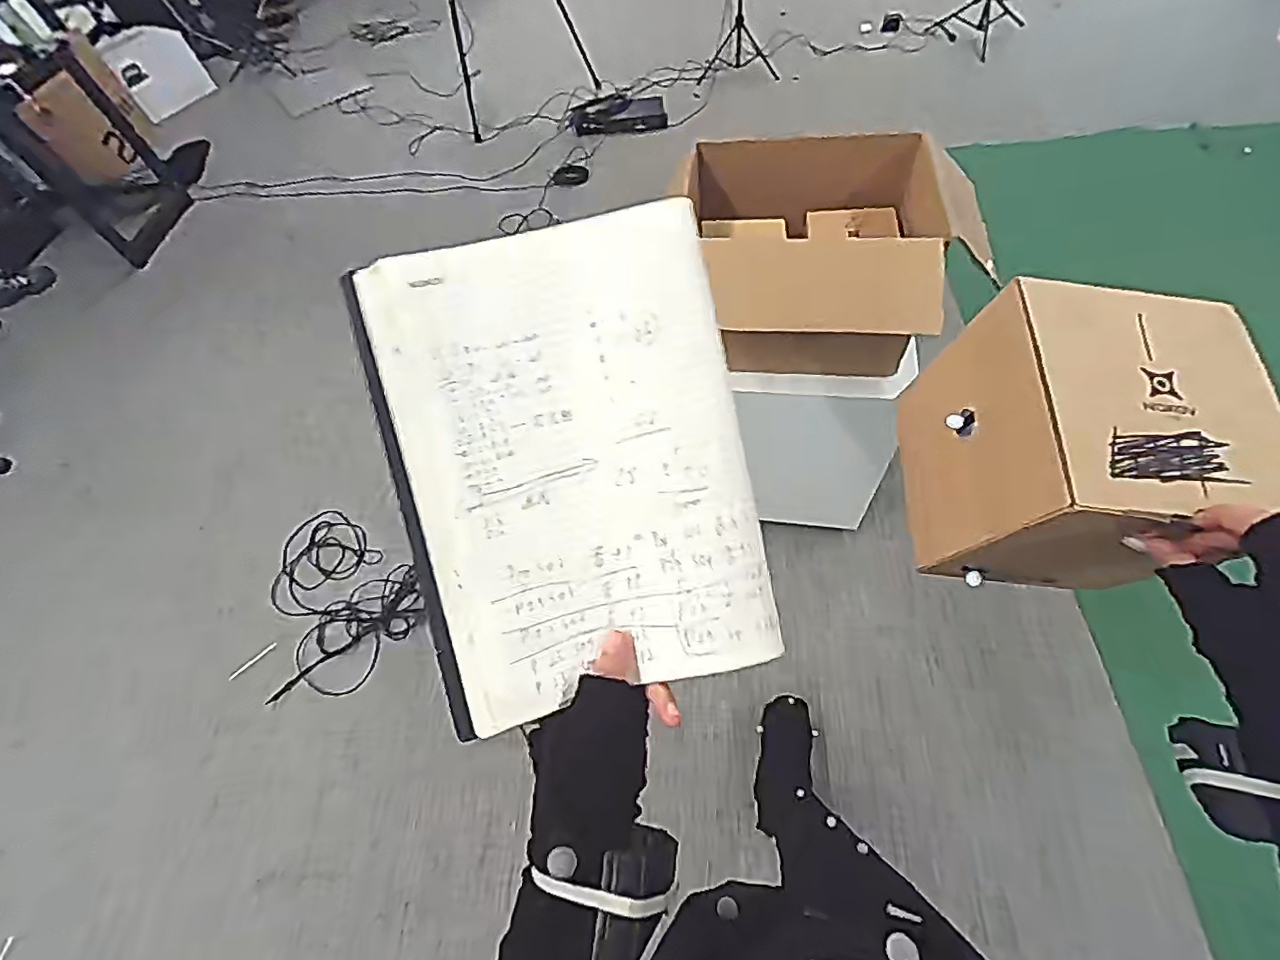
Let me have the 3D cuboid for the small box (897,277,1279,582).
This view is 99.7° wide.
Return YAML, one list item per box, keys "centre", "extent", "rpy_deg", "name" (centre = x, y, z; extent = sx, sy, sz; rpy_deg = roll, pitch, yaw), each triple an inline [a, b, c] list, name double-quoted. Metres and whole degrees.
- centre: [0.329, -0.025, 0.427]
  extent: [0.168, 0.176, 0.179]
  rpy_deg: [6, 65, -4]
  name: "small box"
